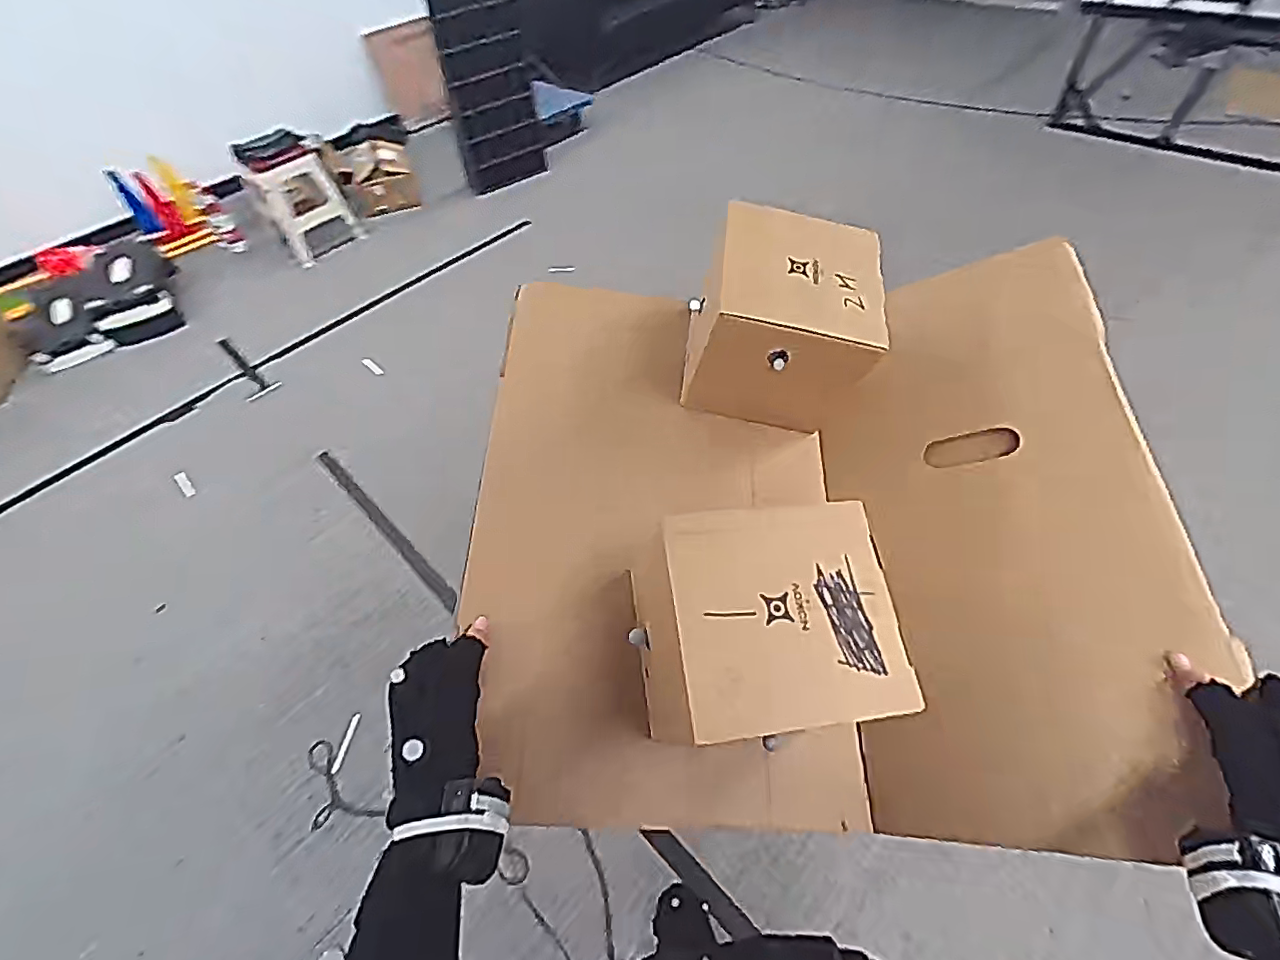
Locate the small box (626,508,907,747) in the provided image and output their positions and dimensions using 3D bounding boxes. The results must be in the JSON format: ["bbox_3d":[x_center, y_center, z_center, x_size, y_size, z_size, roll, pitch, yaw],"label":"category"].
[{"bbox_3d":[0.092,0.135,0.486,0.179,0.176,0.168,-4,66,-11],"label":"small box"}]

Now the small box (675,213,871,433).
[{"bbox_3d":[0.145,-0.174,0.641,0.179,0.176,0.168,11,64,-5],"label":"small box"}]
